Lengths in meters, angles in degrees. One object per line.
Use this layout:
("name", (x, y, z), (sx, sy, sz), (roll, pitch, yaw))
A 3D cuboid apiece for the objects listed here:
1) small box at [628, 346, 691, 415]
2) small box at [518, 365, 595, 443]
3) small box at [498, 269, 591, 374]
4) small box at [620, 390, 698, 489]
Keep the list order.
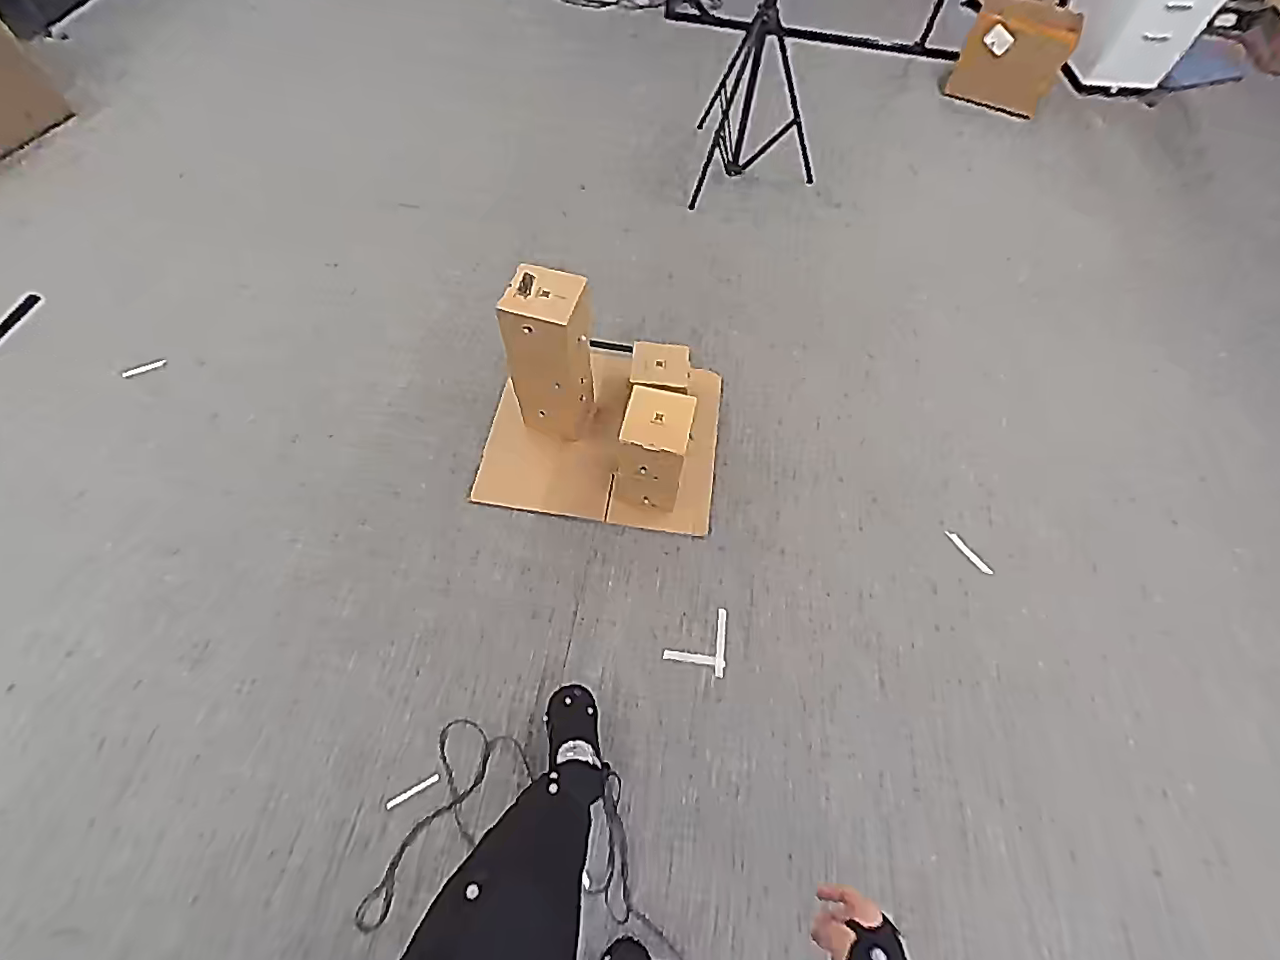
("small box", (0.060, -0.294, 1.692), (0.179, 0.176, 0.168), (5, 60, 0))
("small box", (-0.247, -0.235, 1.641), (0.179, 0.176, 0.168), (16, 62, 7))
("small box", (-0.231, -0.390, 1.351), (0.179, 0.176, 0.168), (15, 62, 5))
("small box", (0.045, -0.102, 1.398), (0.168, 0.176, 0.179), (12, 63, 4))
